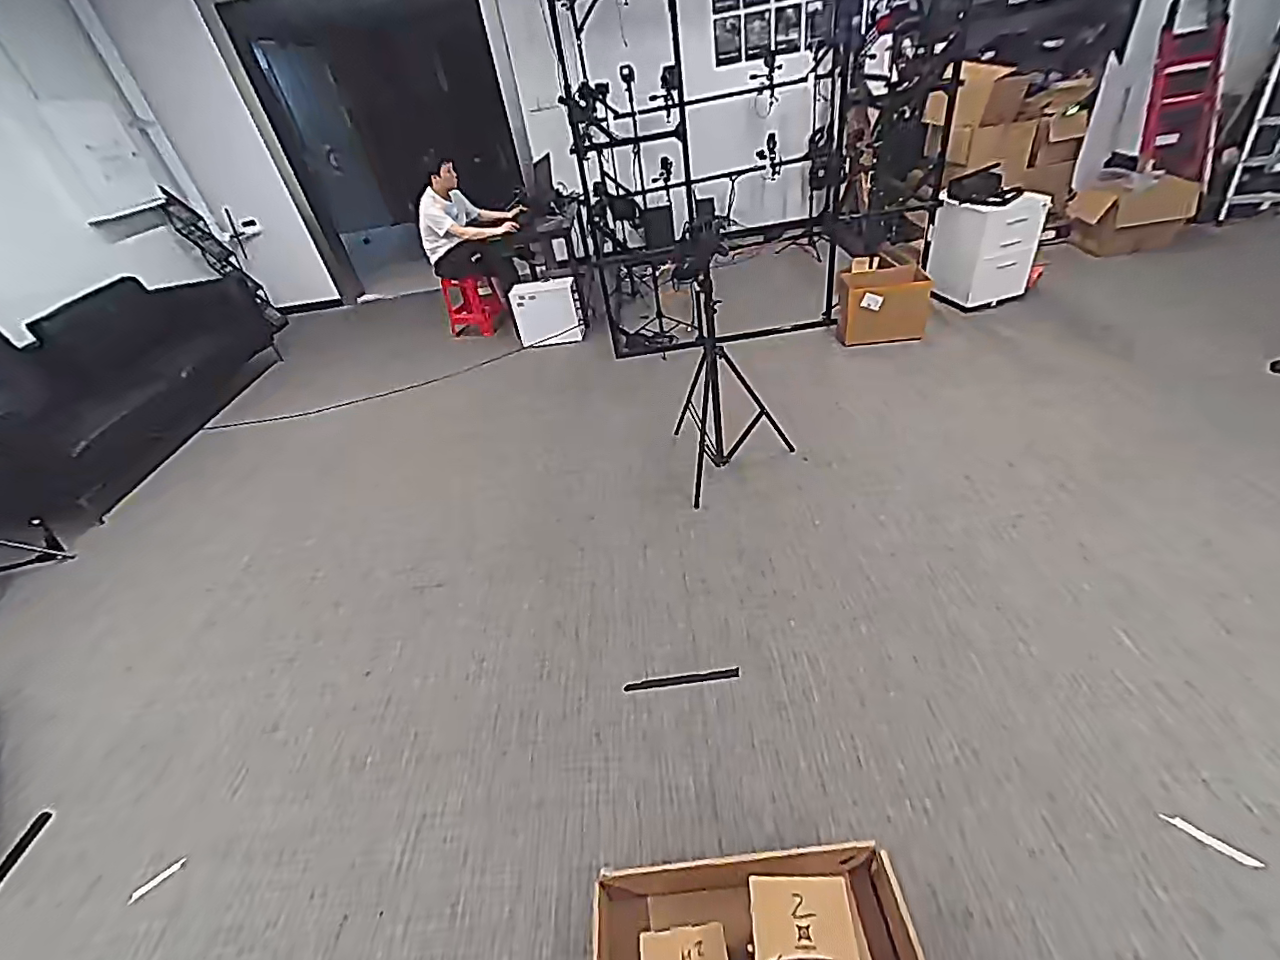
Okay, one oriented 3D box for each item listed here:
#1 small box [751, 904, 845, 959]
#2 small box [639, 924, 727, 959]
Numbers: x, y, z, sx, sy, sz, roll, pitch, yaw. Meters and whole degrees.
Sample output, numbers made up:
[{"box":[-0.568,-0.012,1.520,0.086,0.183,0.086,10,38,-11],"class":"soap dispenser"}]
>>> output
[{"box":[0.306,0.947,1.037,0.168,0.176,0.179,-7,38,8],"class":"small box"},{"box":[0.093,0.987,1.029,0.168,0.176,0.179,-8,37,0],"class":"small box"}]
